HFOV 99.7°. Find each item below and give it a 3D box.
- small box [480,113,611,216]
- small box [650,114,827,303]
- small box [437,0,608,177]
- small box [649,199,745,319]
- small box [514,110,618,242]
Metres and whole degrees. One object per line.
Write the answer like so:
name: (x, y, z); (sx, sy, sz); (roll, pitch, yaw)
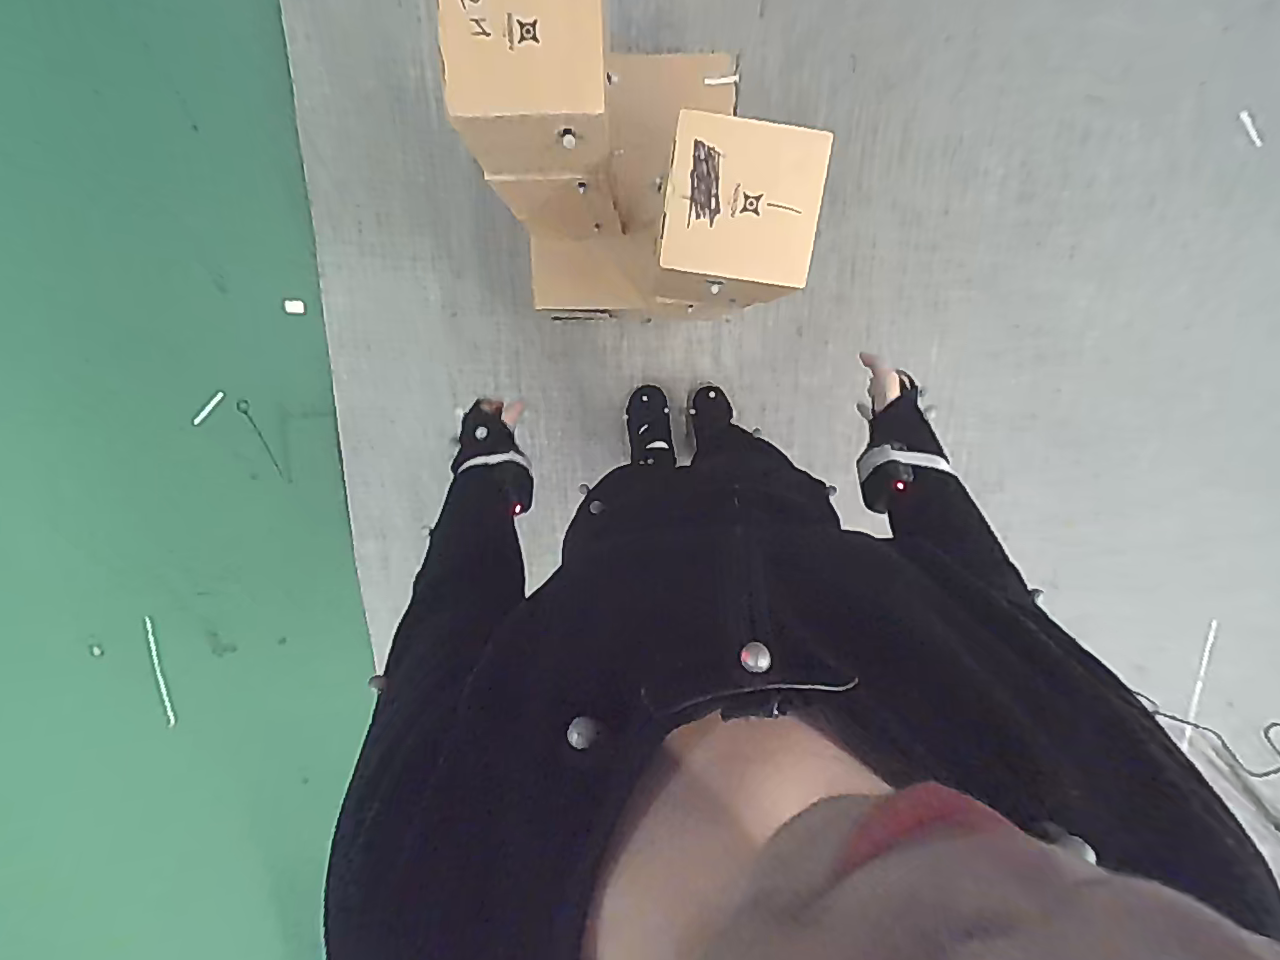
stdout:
small box: (-0.138, -0.513, 0.820); (0.179, 0.176, 0.168); (-2, 100, -1)
small box: (0.109, -0.326, 0.685); (0.179, 0.176, 0.168); (7, 102, -3)
small box: (-0.129, -0.488, 0.657); (0.179, 0.176, 0.168); (-1, 99, 0)
small box: (0.105, -0.404, 1.006); (0.168, 0.176, 0.179); (3, 101, -1)
small box: (-0.130, -0.541, 0.980); (0.179, 0.176, 0.168); (-3, 100, 1)
